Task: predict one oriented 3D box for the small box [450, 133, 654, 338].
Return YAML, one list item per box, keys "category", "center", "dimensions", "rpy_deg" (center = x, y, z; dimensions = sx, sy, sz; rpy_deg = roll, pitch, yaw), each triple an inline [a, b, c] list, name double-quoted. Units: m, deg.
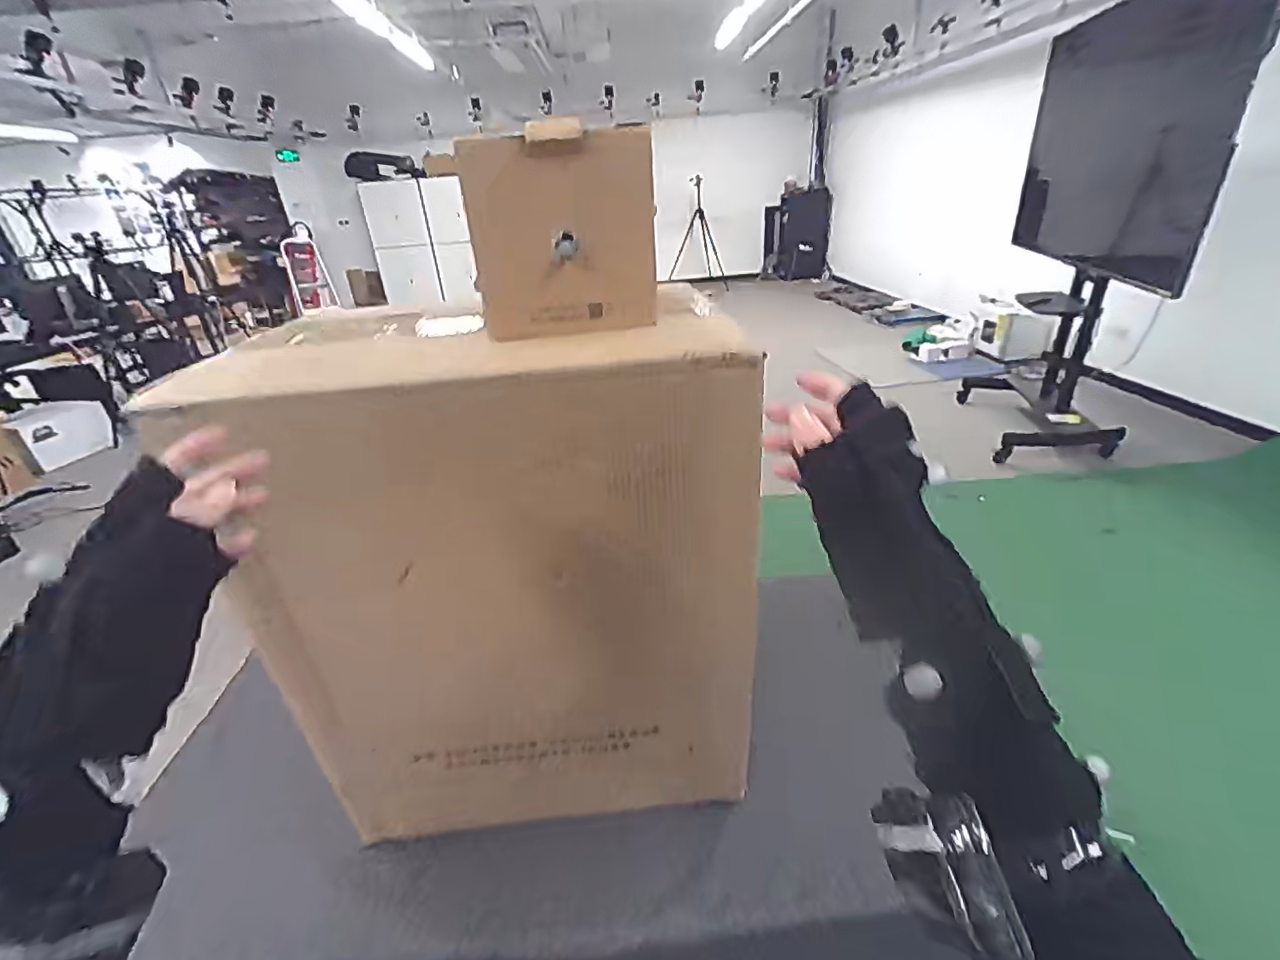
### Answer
- category: "small box"
  center: [-0.081, -0.250, 0.558]
  dimensions: [0.168, 0.176, 0.179]
  rpy_deg: [-7, 31, -5]
